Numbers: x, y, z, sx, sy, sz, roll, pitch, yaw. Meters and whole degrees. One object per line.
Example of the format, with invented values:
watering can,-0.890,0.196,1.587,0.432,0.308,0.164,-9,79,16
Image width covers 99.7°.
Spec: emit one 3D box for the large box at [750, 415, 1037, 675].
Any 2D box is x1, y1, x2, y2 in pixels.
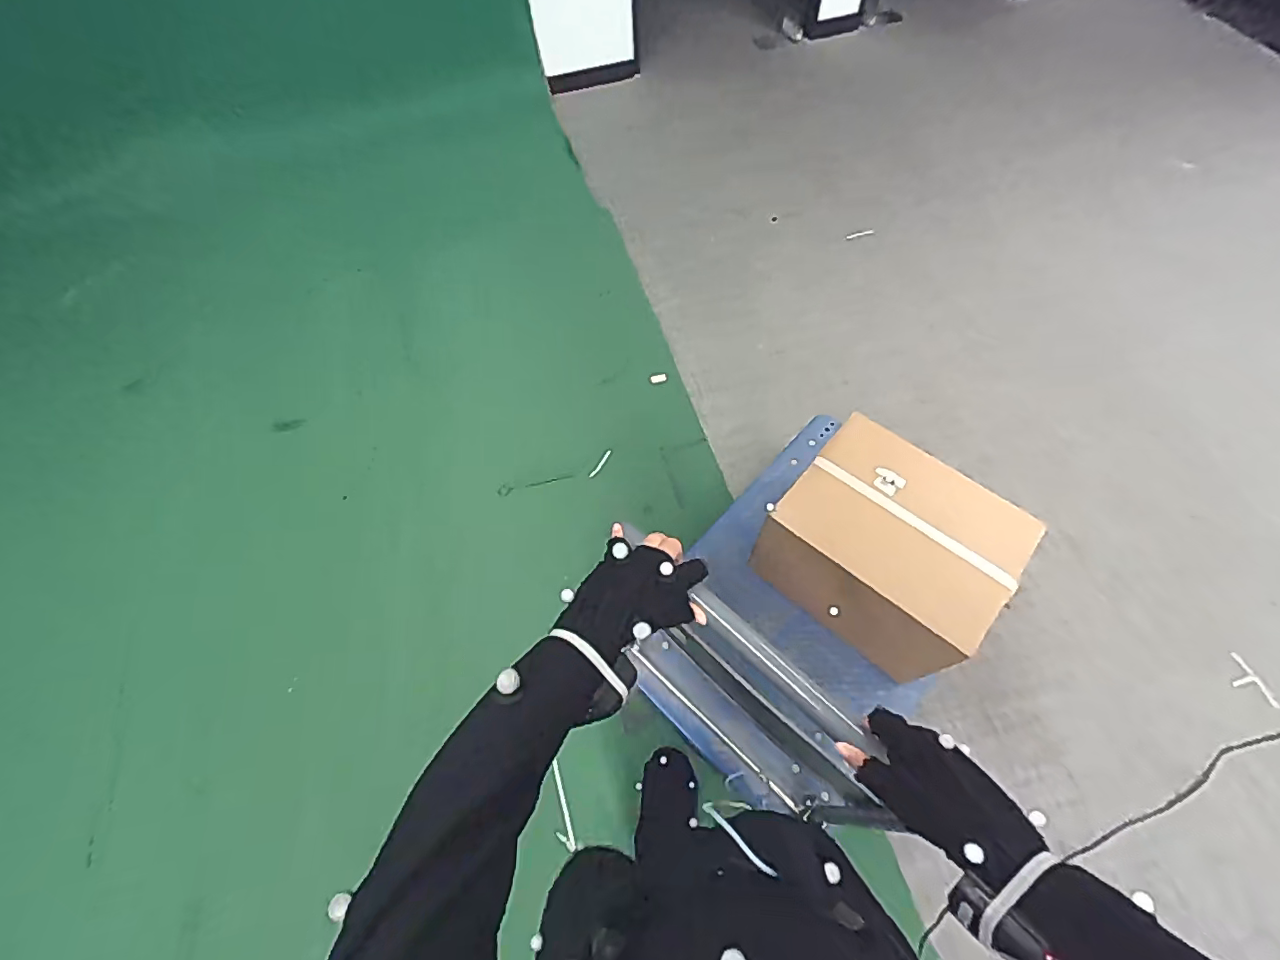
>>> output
large box,0.498,0.143,1.147,0.408,0.320,0.320,37,68,21
